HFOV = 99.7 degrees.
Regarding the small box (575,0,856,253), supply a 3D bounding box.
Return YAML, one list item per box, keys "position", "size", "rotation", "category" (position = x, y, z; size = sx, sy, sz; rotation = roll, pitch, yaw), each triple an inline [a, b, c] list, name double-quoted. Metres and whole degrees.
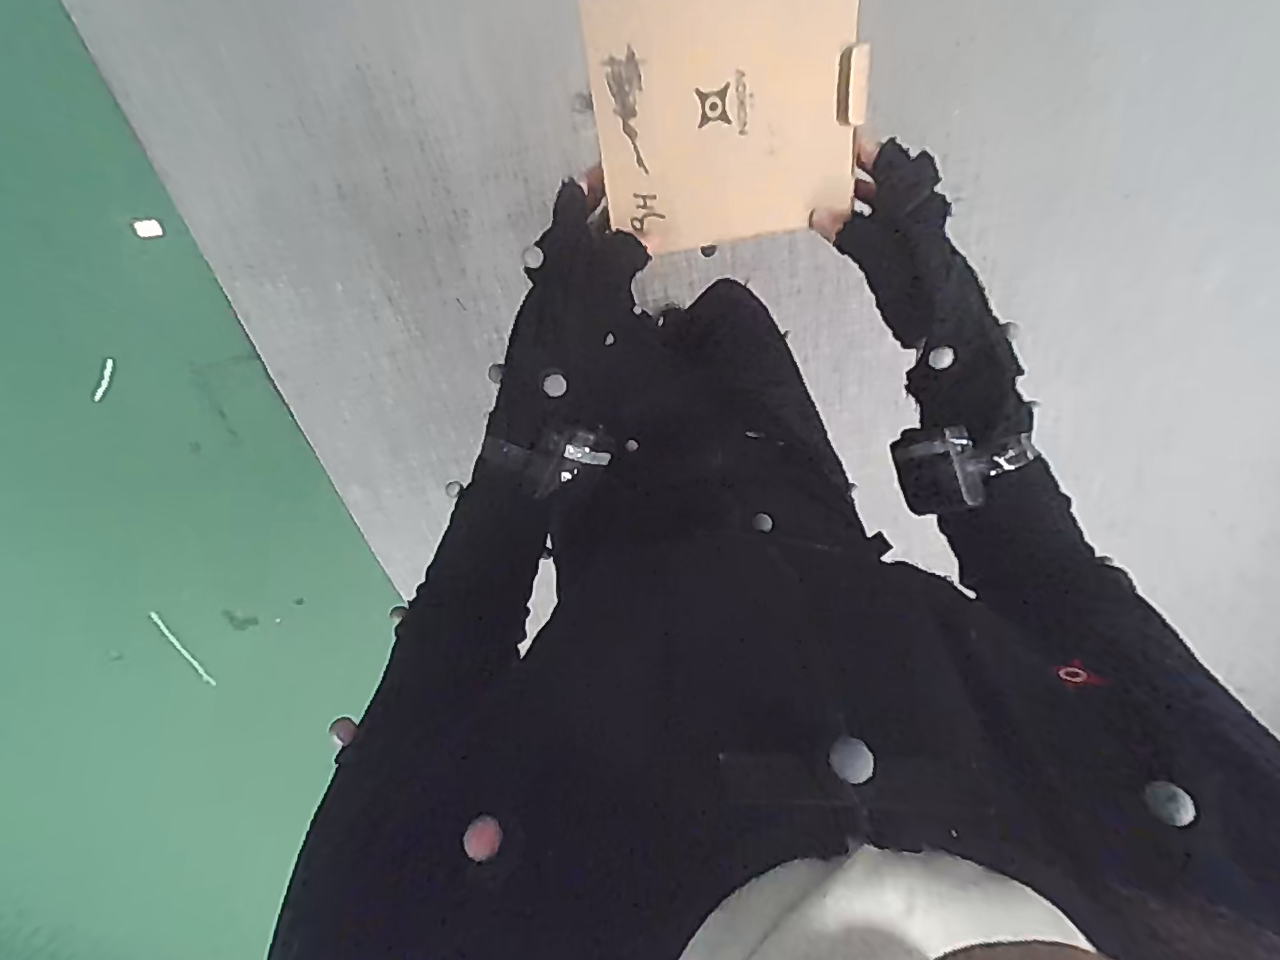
- position: [0.050, -0.283, 0.427]
  size: [0.179, 0.176, 0.168]
  rotation: [-7, 116, 2]
  category: "small box"
